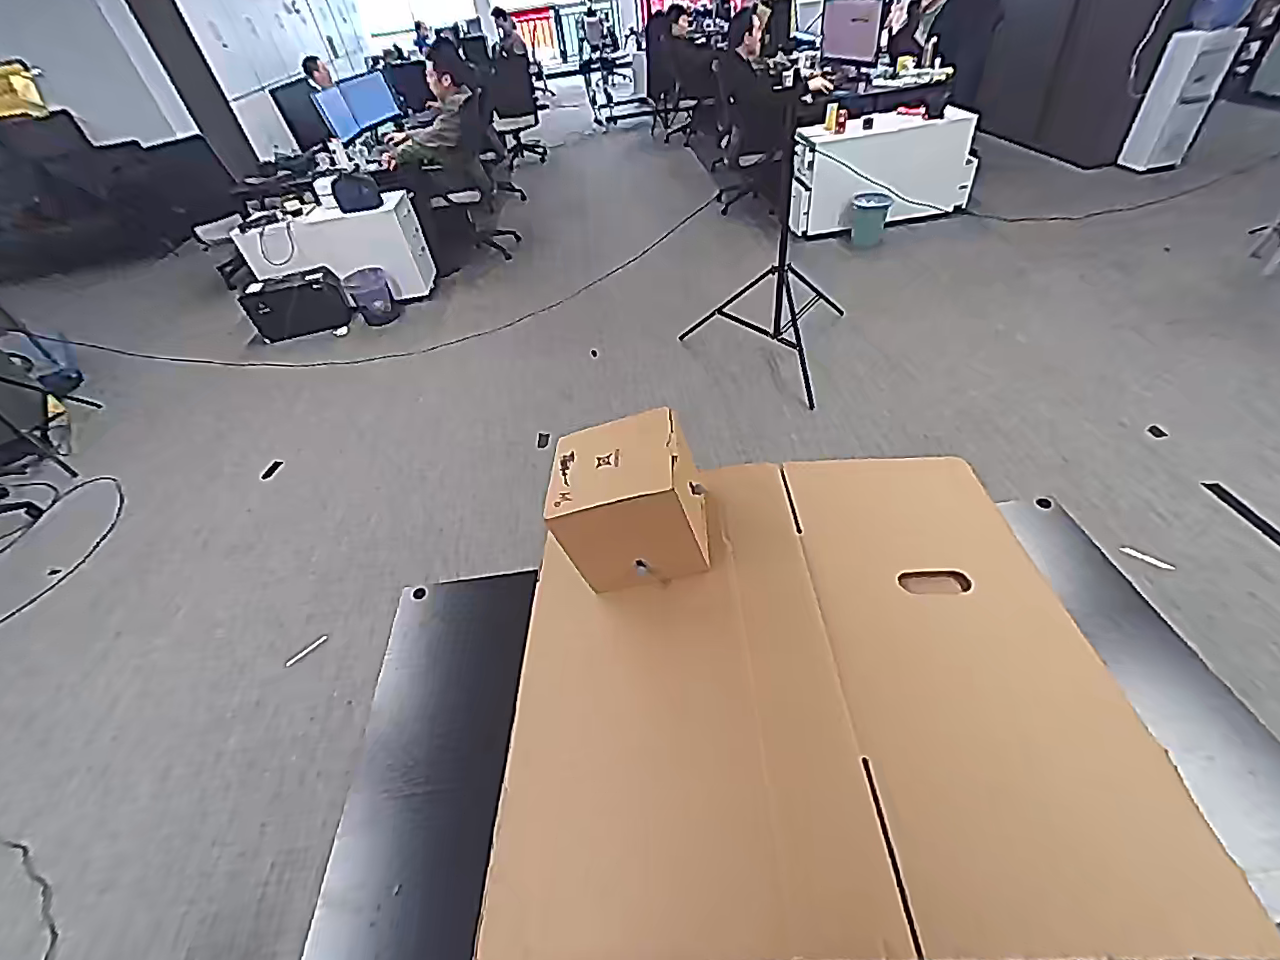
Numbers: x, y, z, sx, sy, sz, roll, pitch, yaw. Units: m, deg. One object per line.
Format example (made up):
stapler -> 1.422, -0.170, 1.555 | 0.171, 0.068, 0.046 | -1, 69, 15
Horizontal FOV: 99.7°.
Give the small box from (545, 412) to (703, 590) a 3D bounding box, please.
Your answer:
small box -> -0.012, 0.034, 0.771 | 0.179, 0.176, 0.168 | -13, 41, 14
